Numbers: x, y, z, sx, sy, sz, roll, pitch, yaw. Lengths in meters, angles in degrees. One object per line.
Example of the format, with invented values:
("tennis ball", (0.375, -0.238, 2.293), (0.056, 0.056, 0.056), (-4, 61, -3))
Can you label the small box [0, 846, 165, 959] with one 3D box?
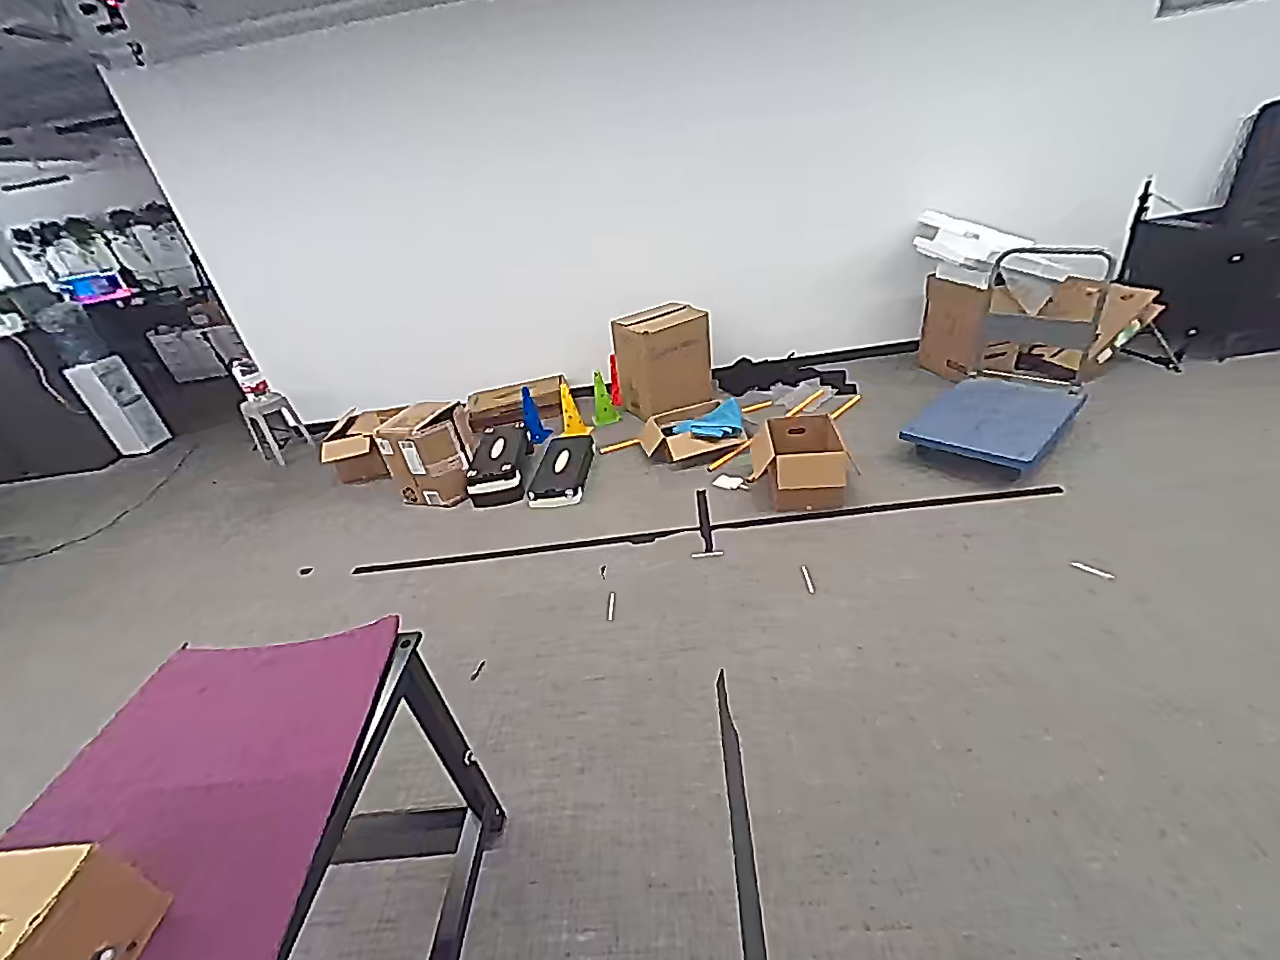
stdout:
("small box", (-0.773, 0.593, 0.674), (0.179, 0.176, 0.168), (-7, 31, 4))
